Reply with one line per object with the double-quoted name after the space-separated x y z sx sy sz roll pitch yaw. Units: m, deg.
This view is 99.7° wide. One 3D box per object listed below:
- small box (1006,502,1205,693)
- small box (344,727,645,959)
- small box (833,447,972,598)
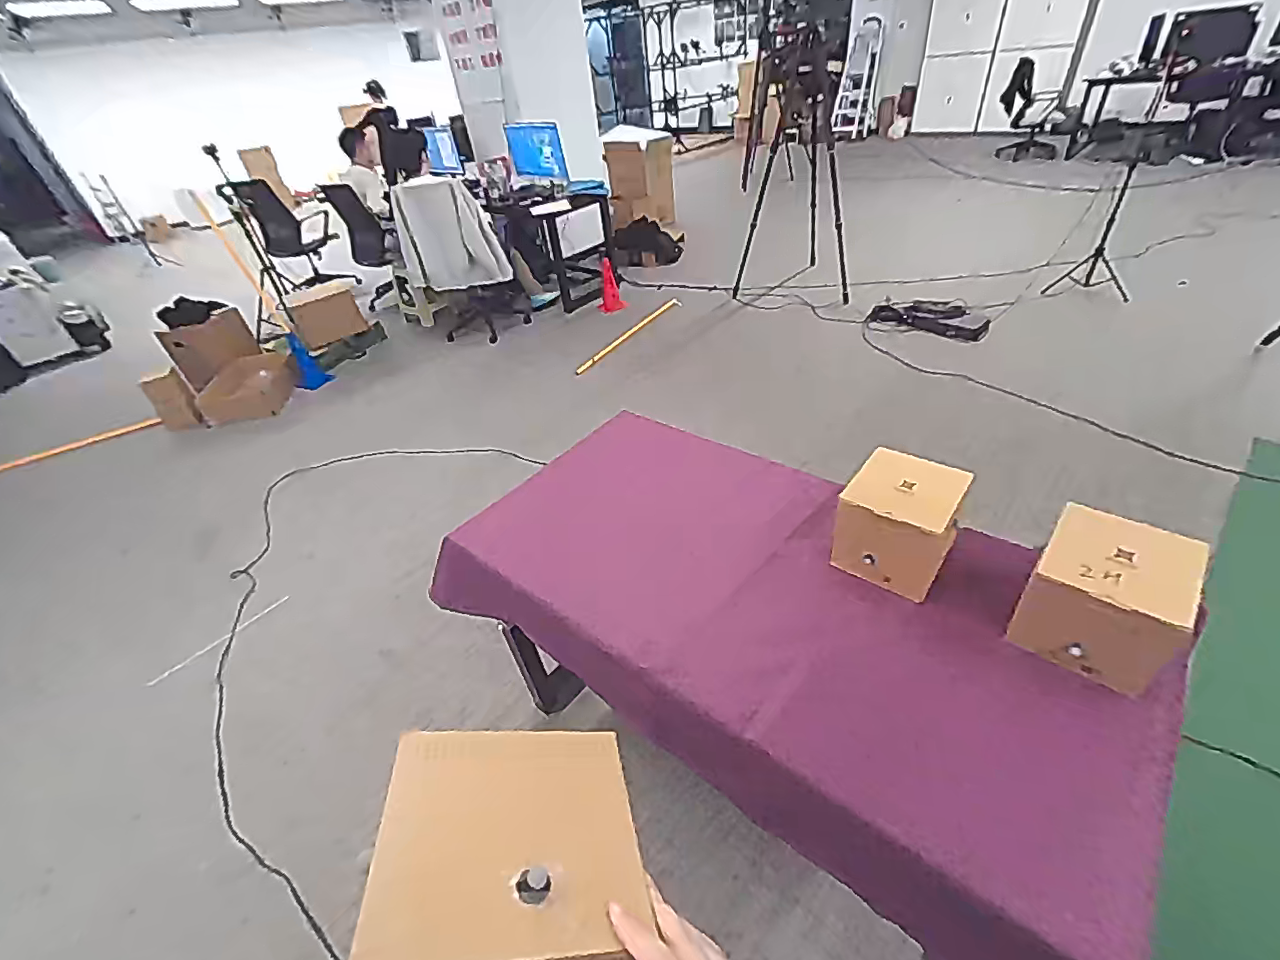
0.673 0.169 0.797 0.168 0.176 0.179 25 52 36 "small box"
-0.114 0.311 0.407 0.179 0.168 0.176 8 20 -16 "small box"
0.461 0.074 0.968 0.168 0.176 0.179 23 50 34 "small box"
